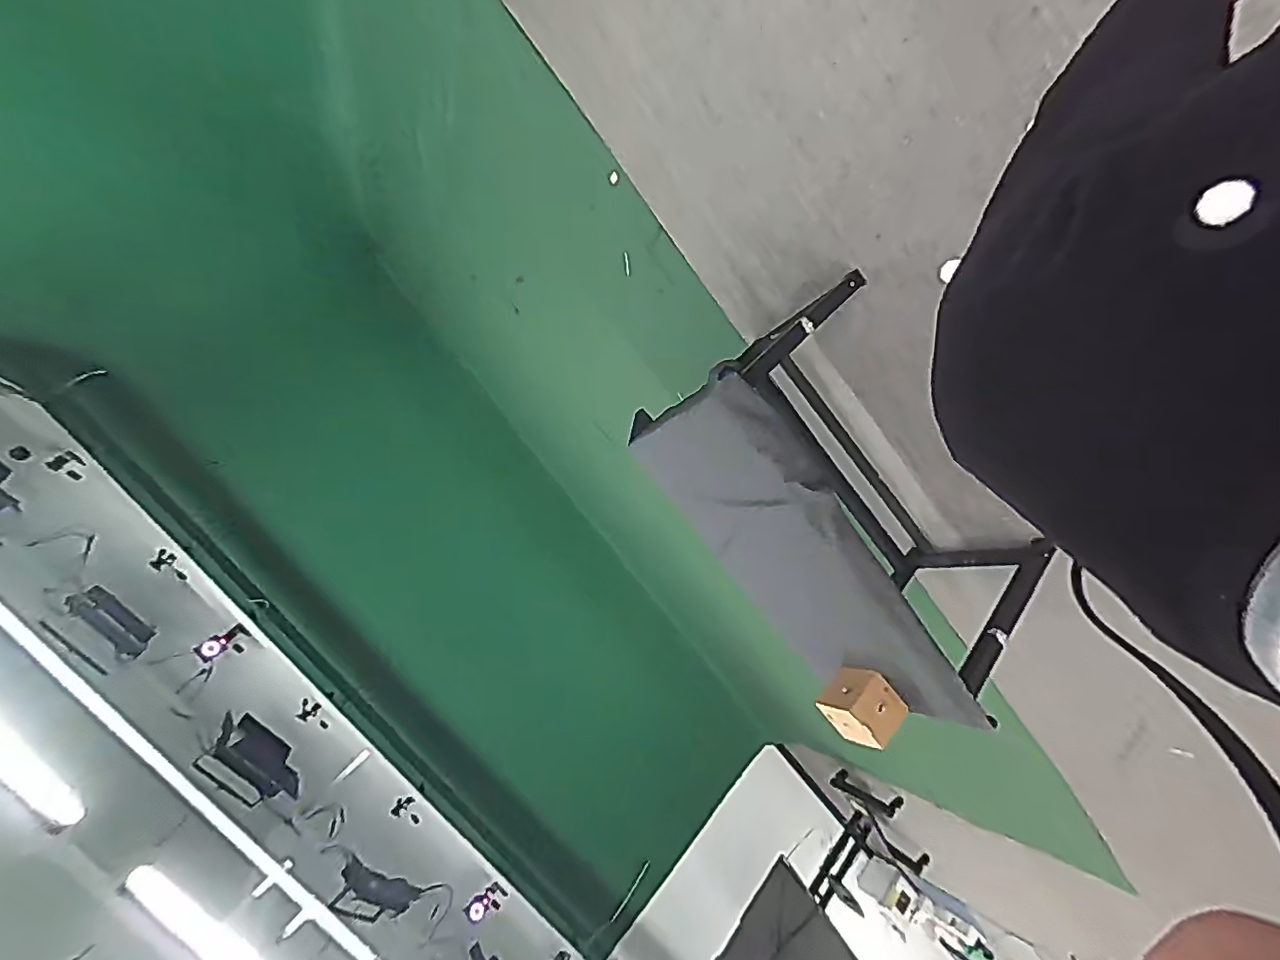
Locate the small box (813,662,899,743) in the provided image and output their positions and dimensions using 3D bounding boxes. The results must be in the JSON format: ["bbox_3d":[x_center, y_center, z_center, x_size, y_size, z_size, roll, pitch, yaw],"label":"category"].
[{"bbox_3d":[0.712,0.718,1.768,0.168,0.176,0.179,50,156,-4],"label":"small box"}]
